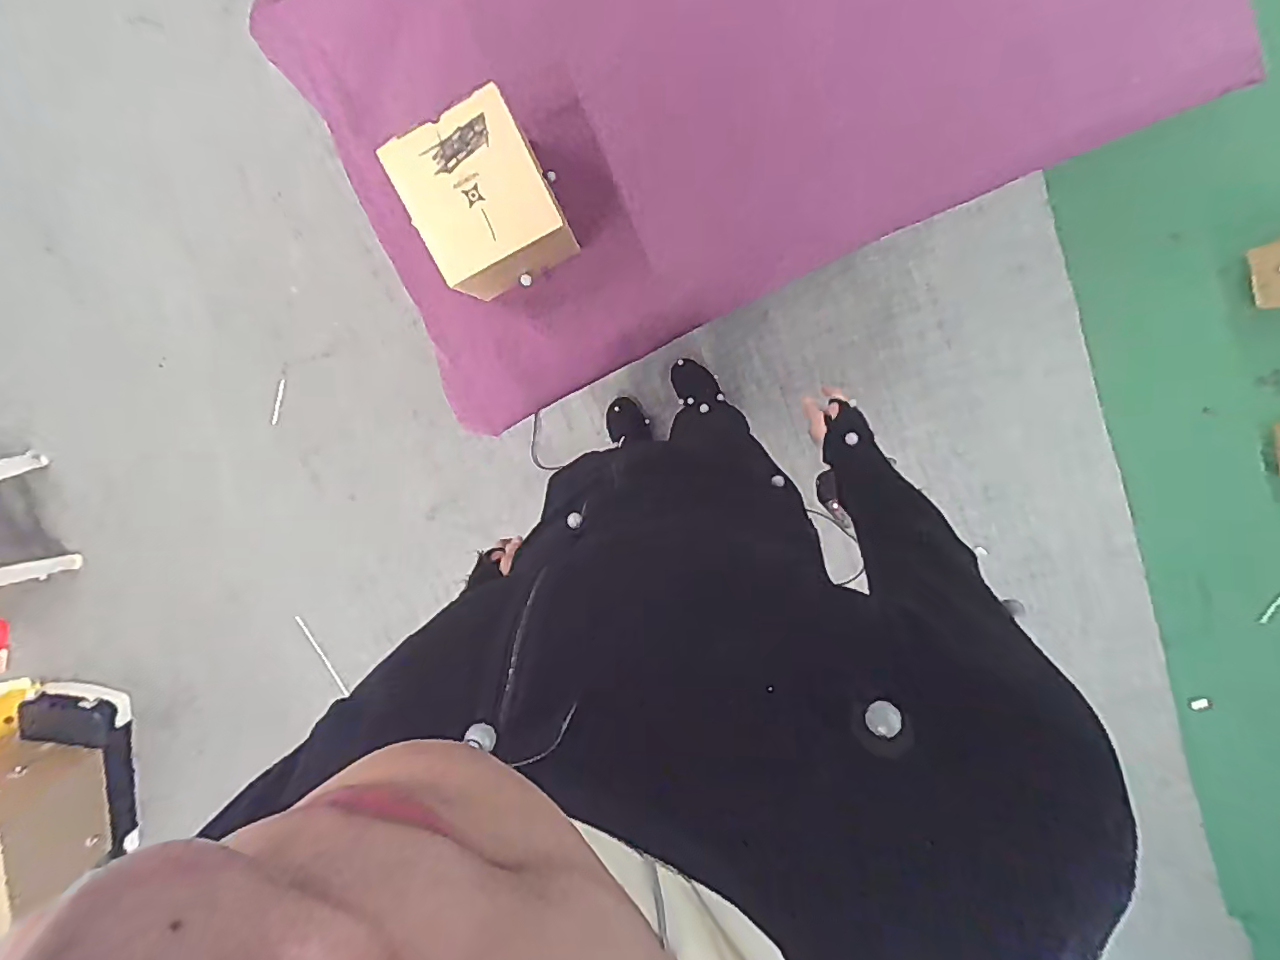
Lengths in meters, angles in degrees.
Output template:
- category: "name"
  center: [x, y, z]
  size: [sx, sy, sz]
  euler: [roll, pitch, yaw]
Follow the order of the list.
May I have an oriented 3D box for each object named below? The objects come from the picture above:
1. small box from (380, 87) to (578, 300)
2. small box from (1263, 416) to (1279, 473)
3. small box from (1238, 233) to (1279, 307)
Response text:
- category: "small box"
  center: [-0.199, -0.361, 0.722]
  size: [0.168, 0.176, 0.179]
  euler: [-26, 101, 6]
- category: "small box"
  center: [1.913, -0.108, 1.497]
  size: [0.179, 0.176, 0.168]
  euler: [-21, 101, 5]
- category: "small box"
  center: [1.724, -0.564, 1.404]
  size: [0.179, 0.176, 0.168]
  euler: [-23, 101, 5]
